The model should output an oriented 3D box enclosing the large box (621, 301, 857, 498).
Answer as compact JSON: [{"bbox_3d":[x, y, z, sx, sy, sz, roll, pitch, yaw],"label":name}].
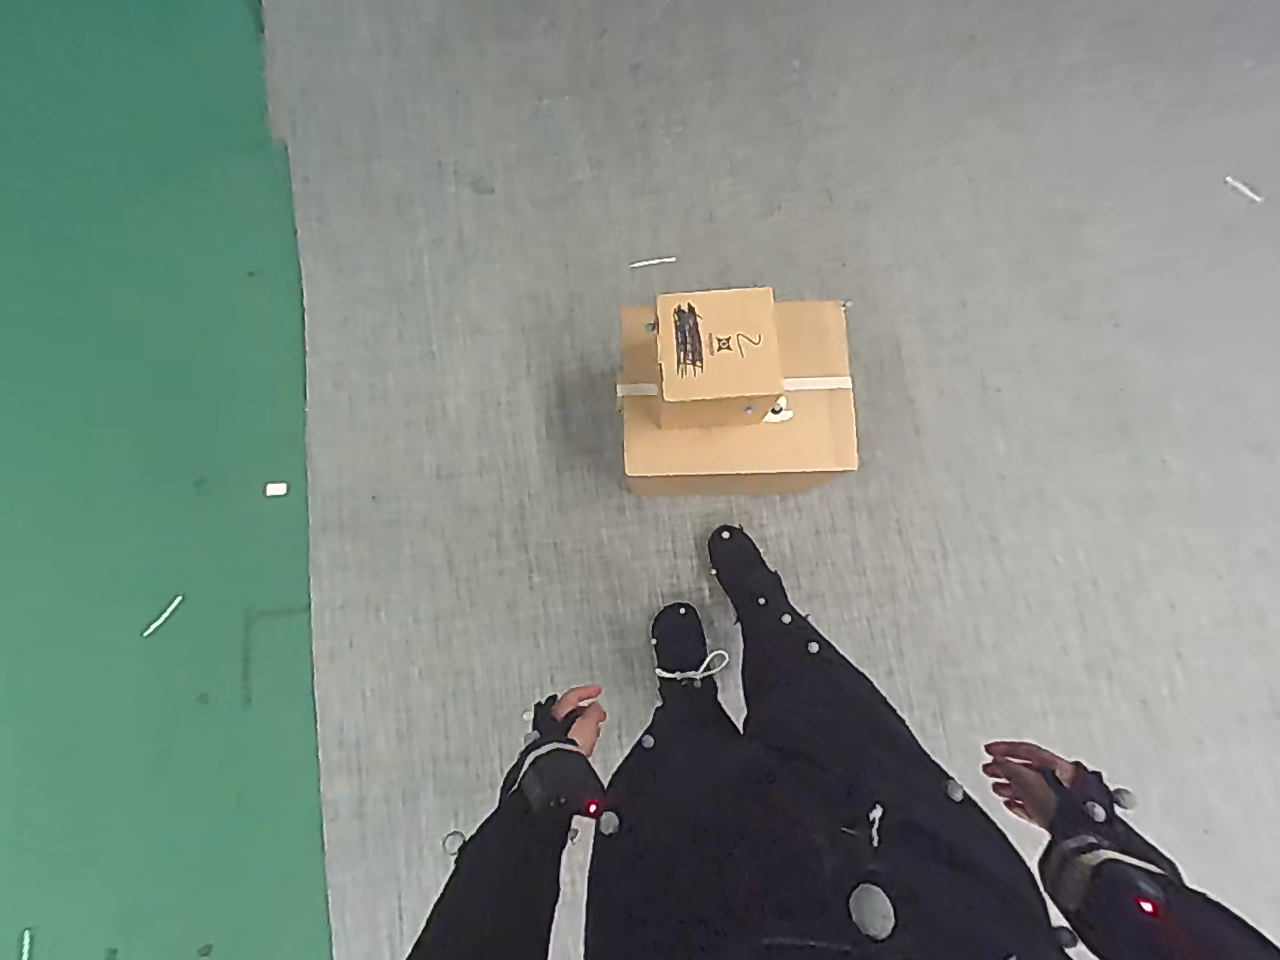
[{"bbox_3d":[0.174,-0.141,1.105,0.408,0.320,0.320,-2,82,1],"label":"large box"}]
